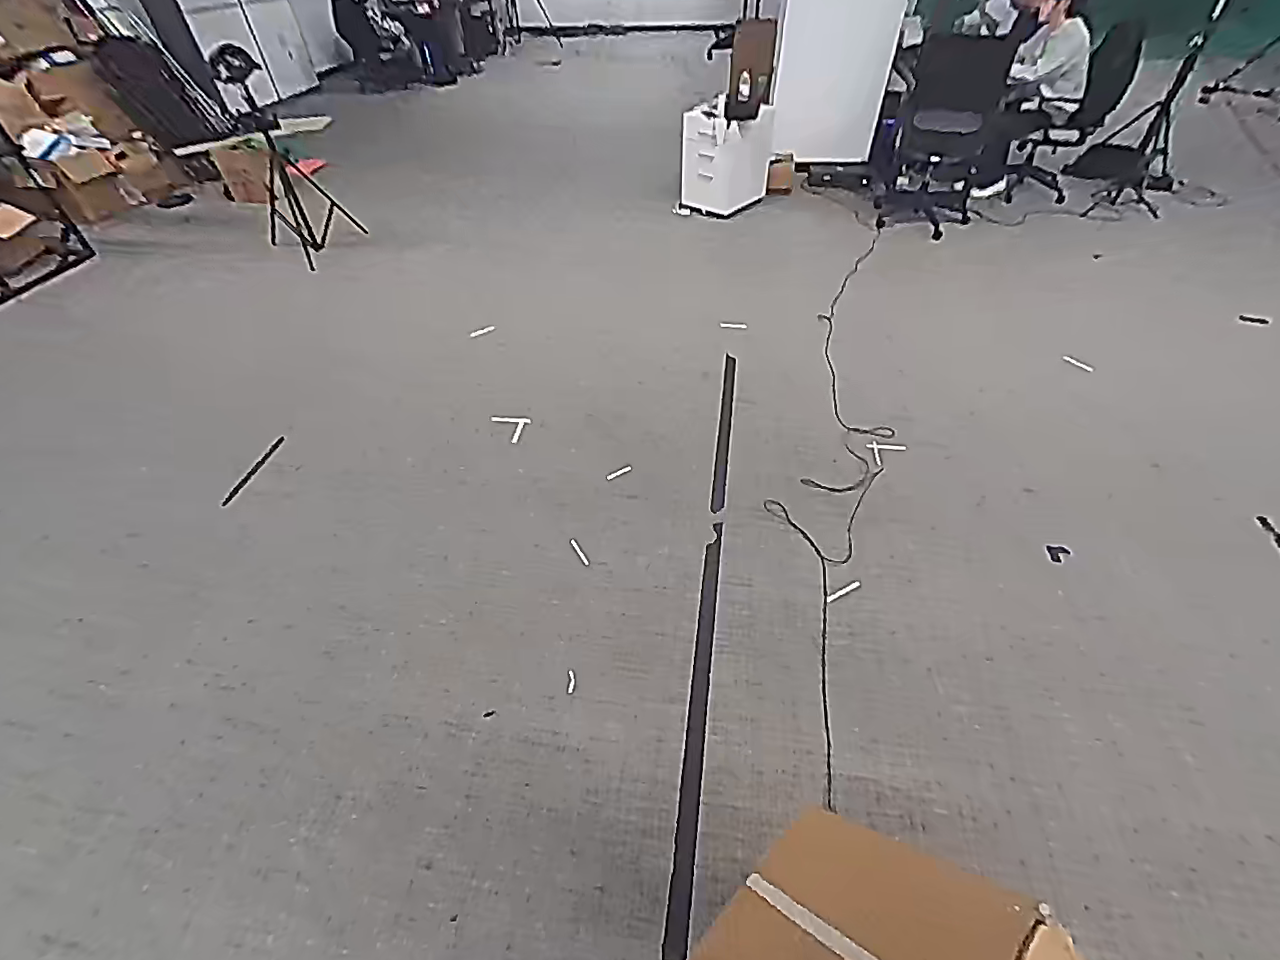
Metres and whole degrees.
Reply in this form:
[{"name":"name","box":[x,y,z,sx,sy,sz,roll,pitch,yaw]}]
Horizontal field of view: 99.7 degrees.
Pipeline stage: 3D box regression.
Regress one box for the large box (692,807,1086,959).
[{"name":"large box","box":[0.340,0.708,0.683,0.320,0.408,0.320,-35,90,-26]}]
